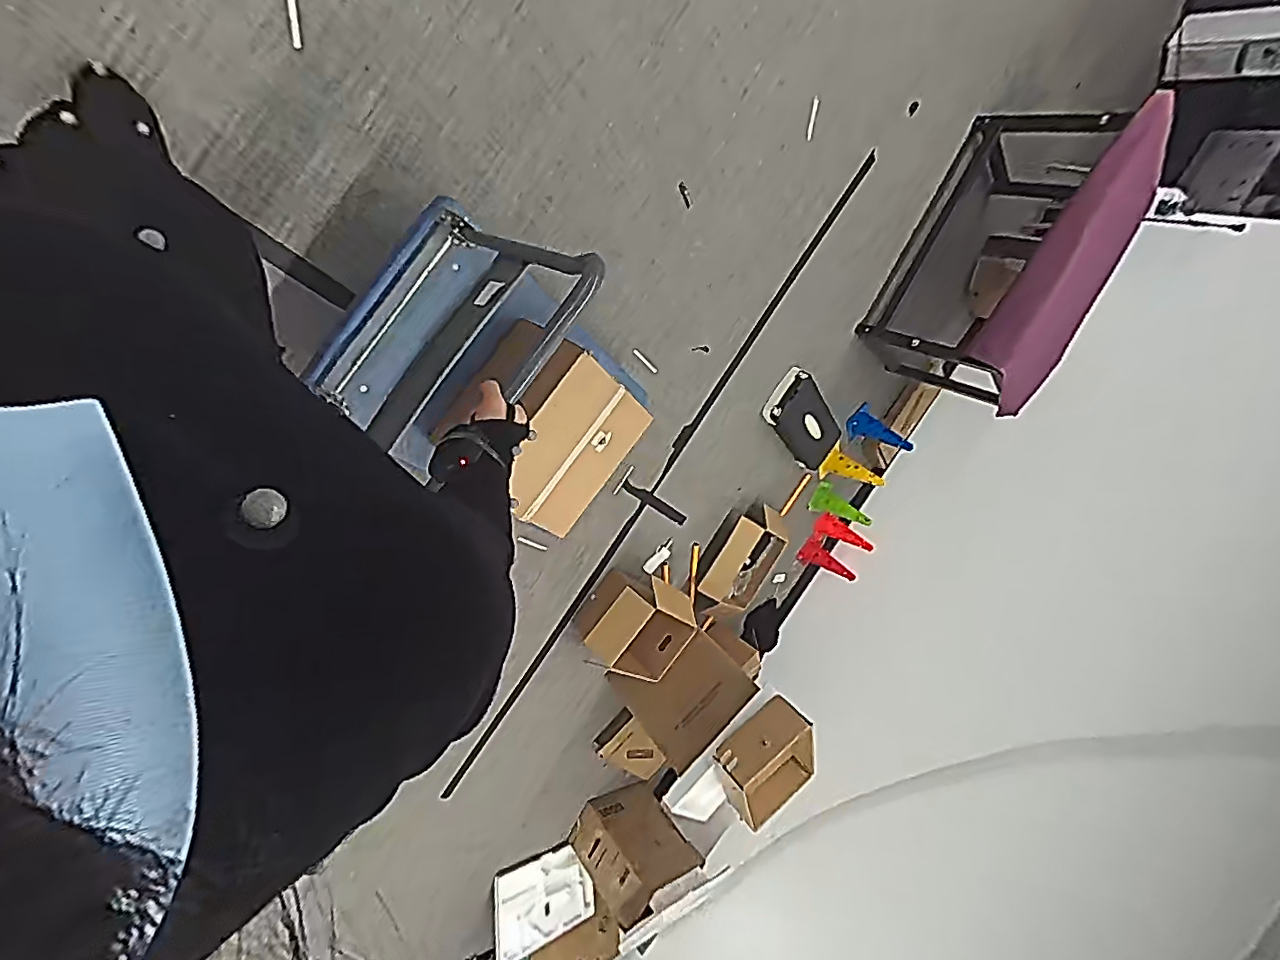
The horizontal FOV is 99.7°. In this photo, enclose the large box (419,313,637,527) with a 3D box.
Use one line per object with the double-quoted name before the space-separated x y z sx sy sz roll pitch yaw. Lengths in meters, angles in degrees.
"large box" -0.292 -0.156 1.415 0.408 0.320 0.320 -54 140 -3
